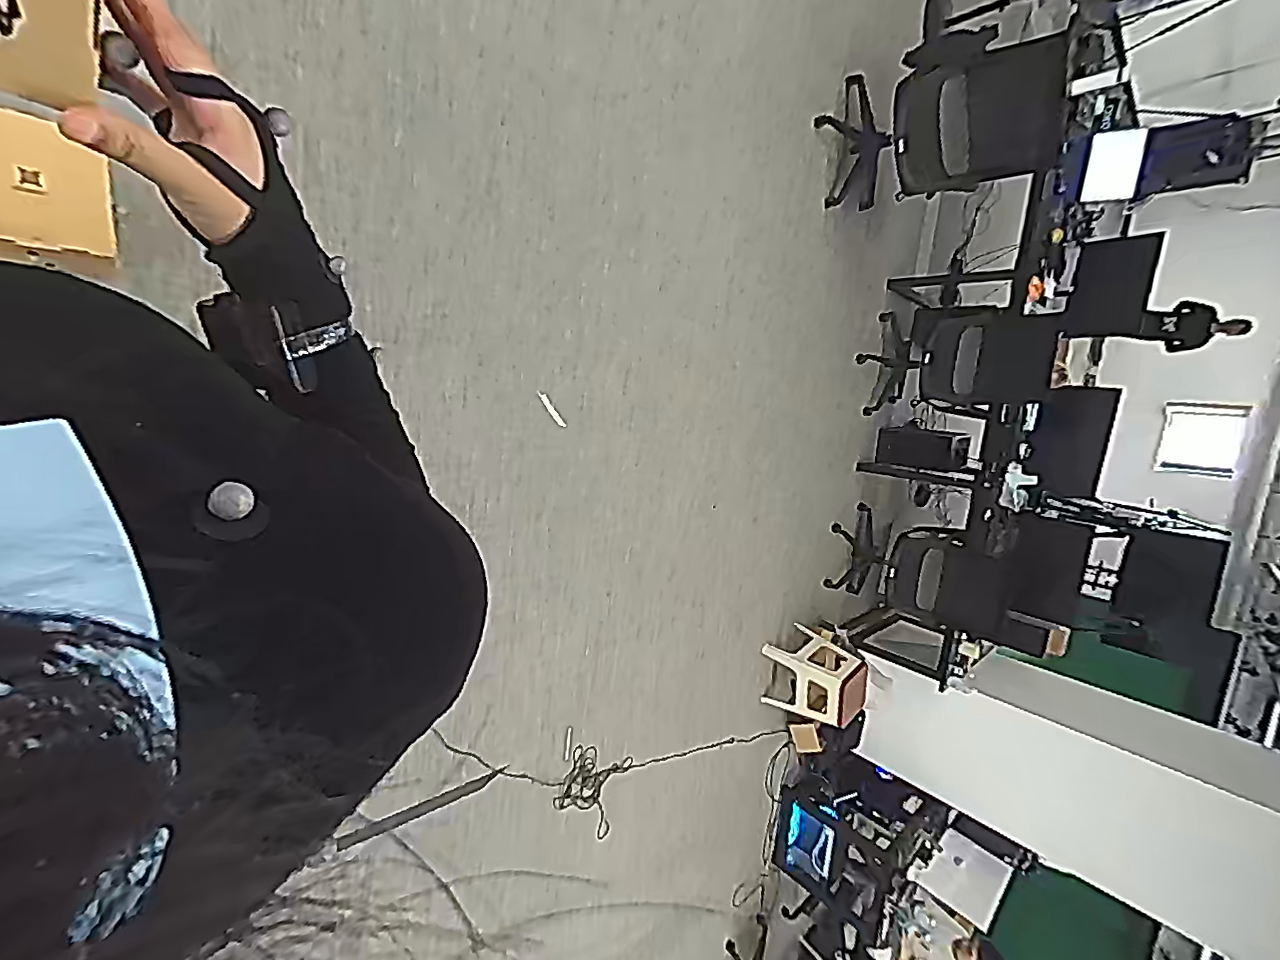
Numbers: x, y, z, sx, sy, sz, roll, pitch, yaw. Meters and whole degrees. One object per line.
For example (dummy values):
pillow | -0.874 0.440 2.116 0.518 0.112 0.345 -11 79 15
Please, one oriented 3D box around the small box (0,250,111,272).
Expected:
small box | -1.026 -0.463 0.923 0.168 0.176 0.179 -7 105 -44

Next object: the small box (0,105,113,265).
small box | -0.913 -0.436 0.809 0.168 0.176 0.179 -5 105 -44
